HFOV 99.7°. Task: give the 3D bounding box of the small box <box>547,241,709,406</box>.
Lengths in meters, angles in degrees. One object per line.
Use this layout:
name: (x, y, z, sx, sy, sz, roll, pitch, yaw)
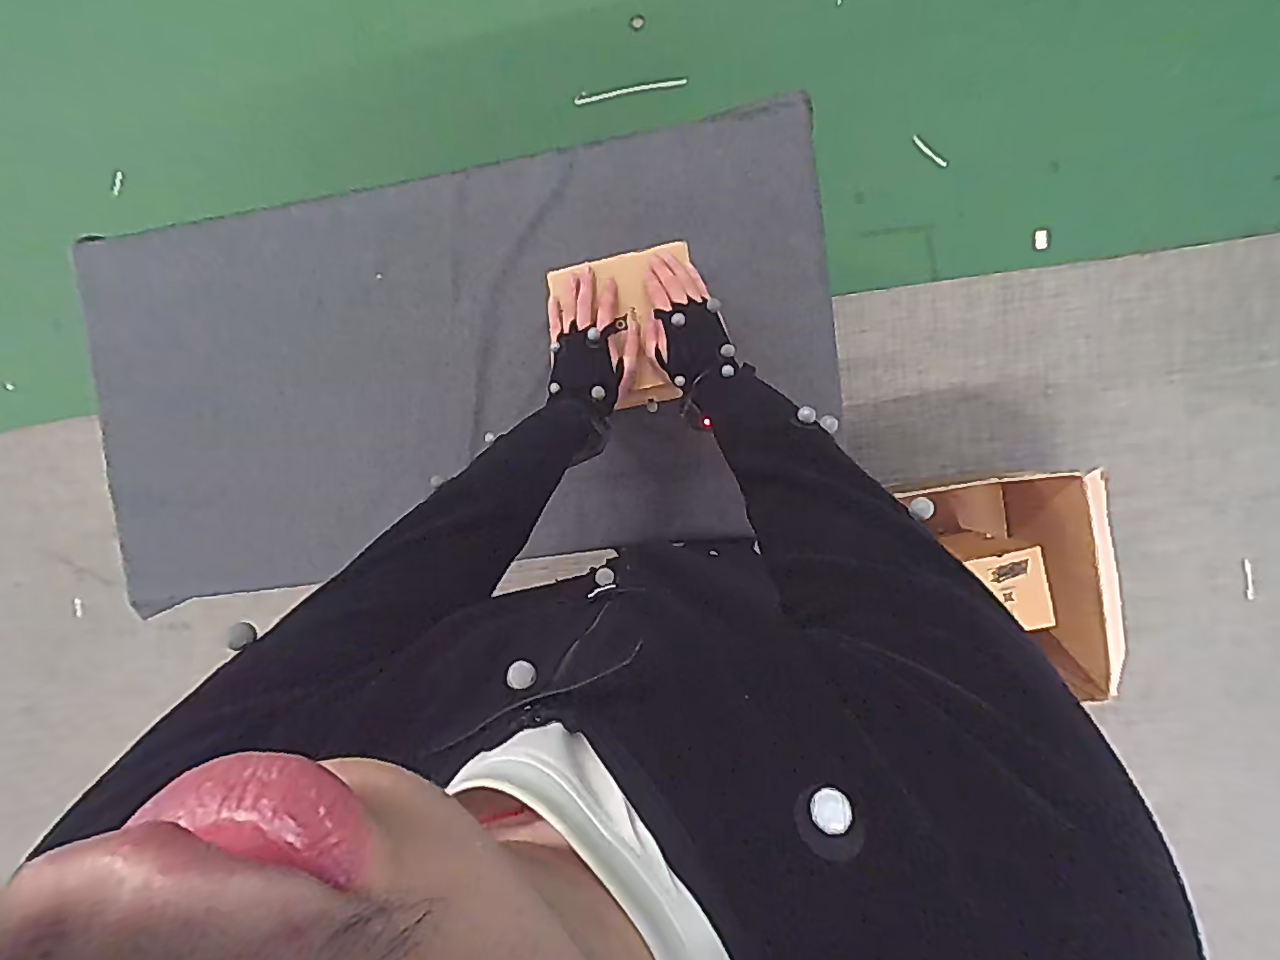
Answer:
small box: (-0.009, -0.202, 0.748, 0.179, 0.176, 0.168, -13, 94, 7)
